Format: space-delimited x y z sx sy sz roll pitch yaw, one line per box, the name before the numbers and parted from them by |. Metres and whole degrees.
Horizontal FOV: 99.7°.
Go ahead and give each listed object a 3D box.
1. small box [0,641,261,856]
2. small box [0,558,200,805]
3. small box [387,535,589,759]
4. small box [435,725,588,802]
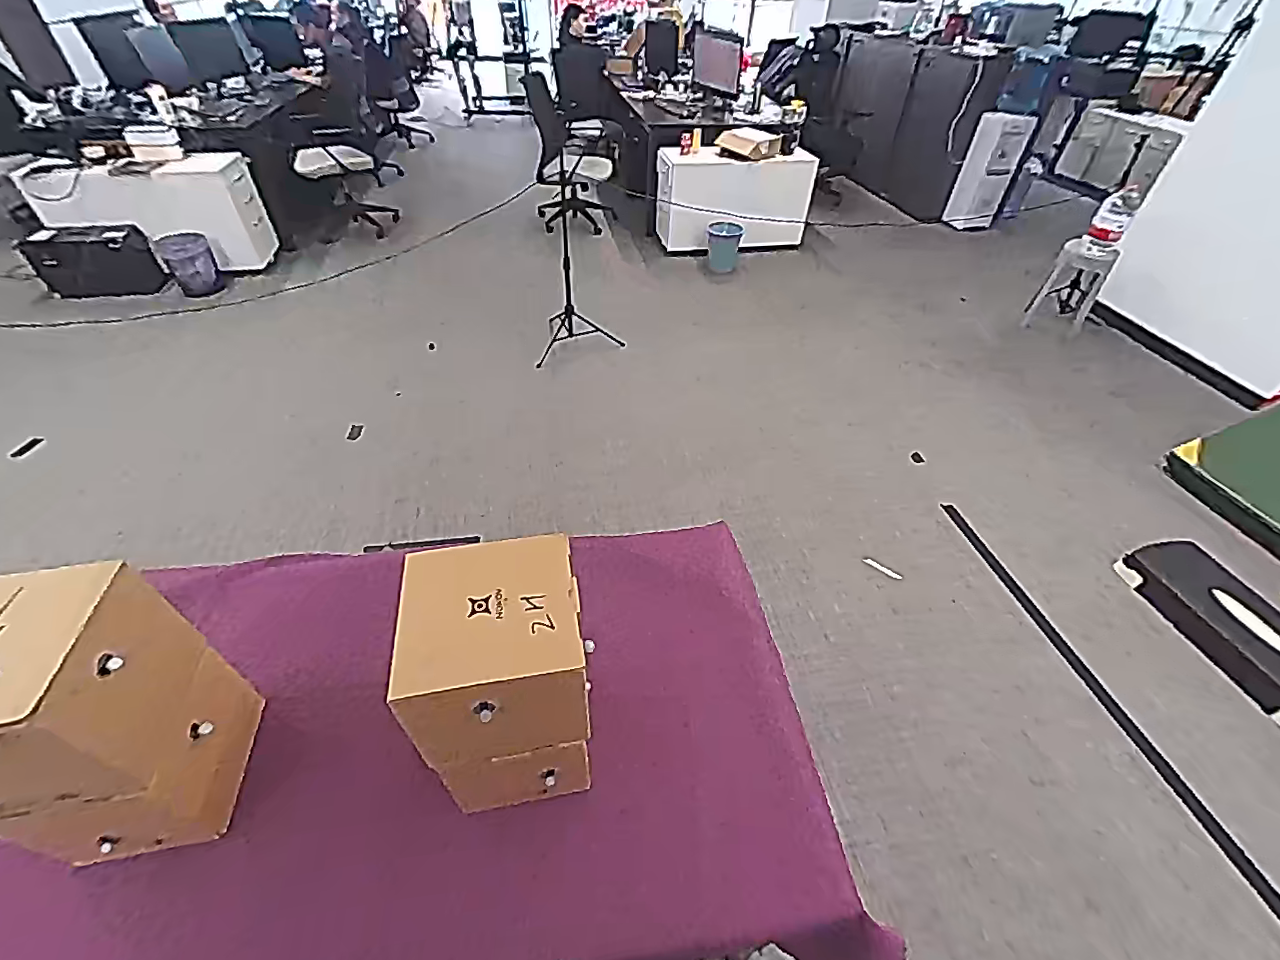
small box | -0.605 0.327 0.663 0.168 0.176 0.179 -6 45 -9
small box | -0.600 0.208 0.550 0.168 0.176 0.179 -7 44 -10
small box | -0.153 0.184 0.594 0.179 0.176 0.168 -6 45 -10
small box | -0.159 0.300 0.710 0.168 0.176 0.179 -5 44 -9
